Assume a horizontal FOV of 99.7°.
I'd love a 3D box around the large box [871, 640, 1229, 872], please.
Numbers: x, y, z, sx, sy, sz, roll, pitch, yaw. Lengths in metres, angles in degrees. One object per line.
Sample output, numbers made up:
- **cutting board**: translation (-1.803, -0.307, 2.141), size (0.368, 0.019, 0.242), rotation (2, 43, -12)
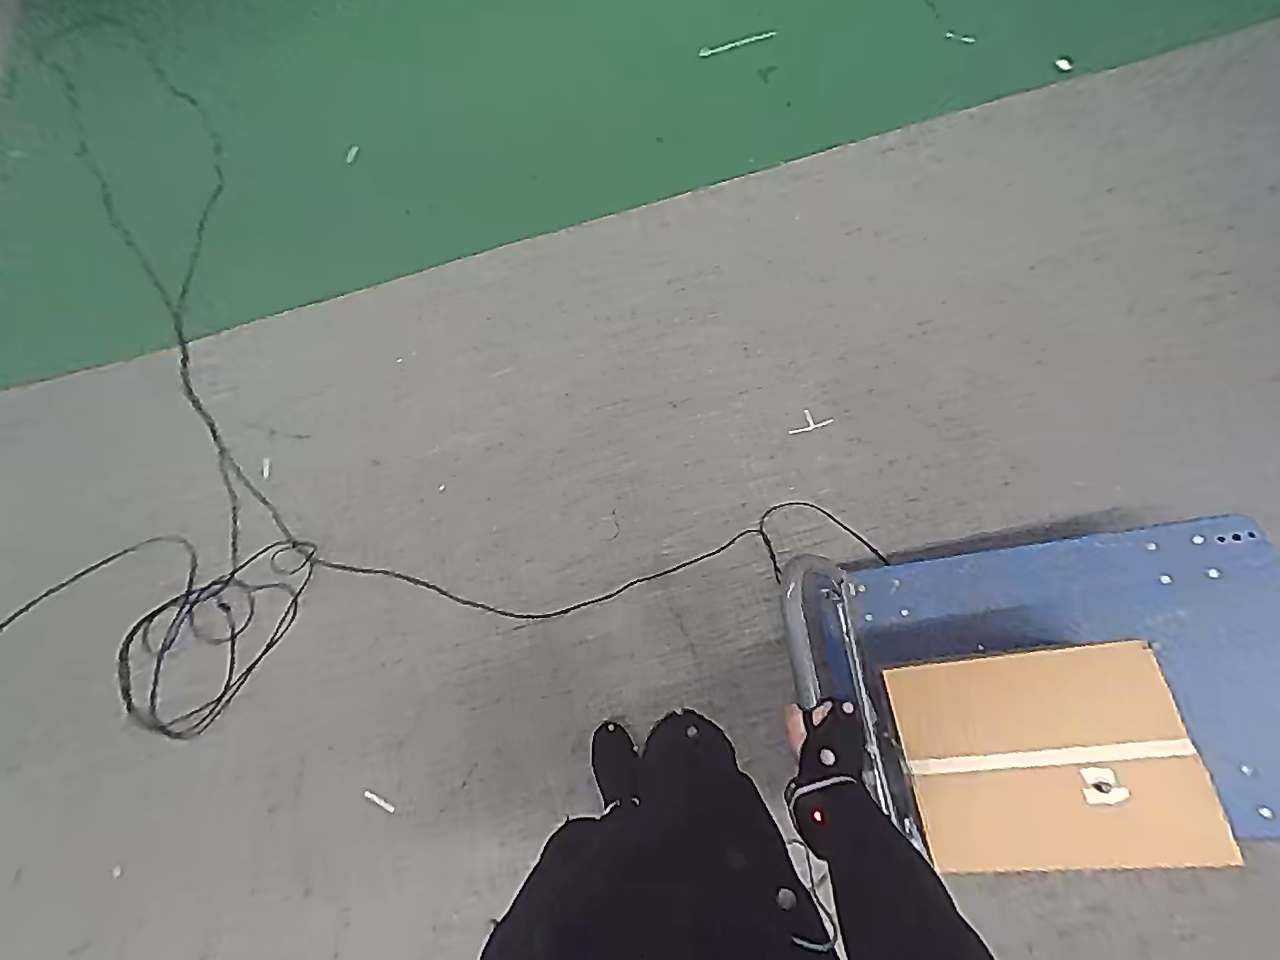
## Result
- **large box**: translation (0.690, 0.492, 1.012), size (0.408, 0.320, 0.320), rotation (-13, 70, 15)
